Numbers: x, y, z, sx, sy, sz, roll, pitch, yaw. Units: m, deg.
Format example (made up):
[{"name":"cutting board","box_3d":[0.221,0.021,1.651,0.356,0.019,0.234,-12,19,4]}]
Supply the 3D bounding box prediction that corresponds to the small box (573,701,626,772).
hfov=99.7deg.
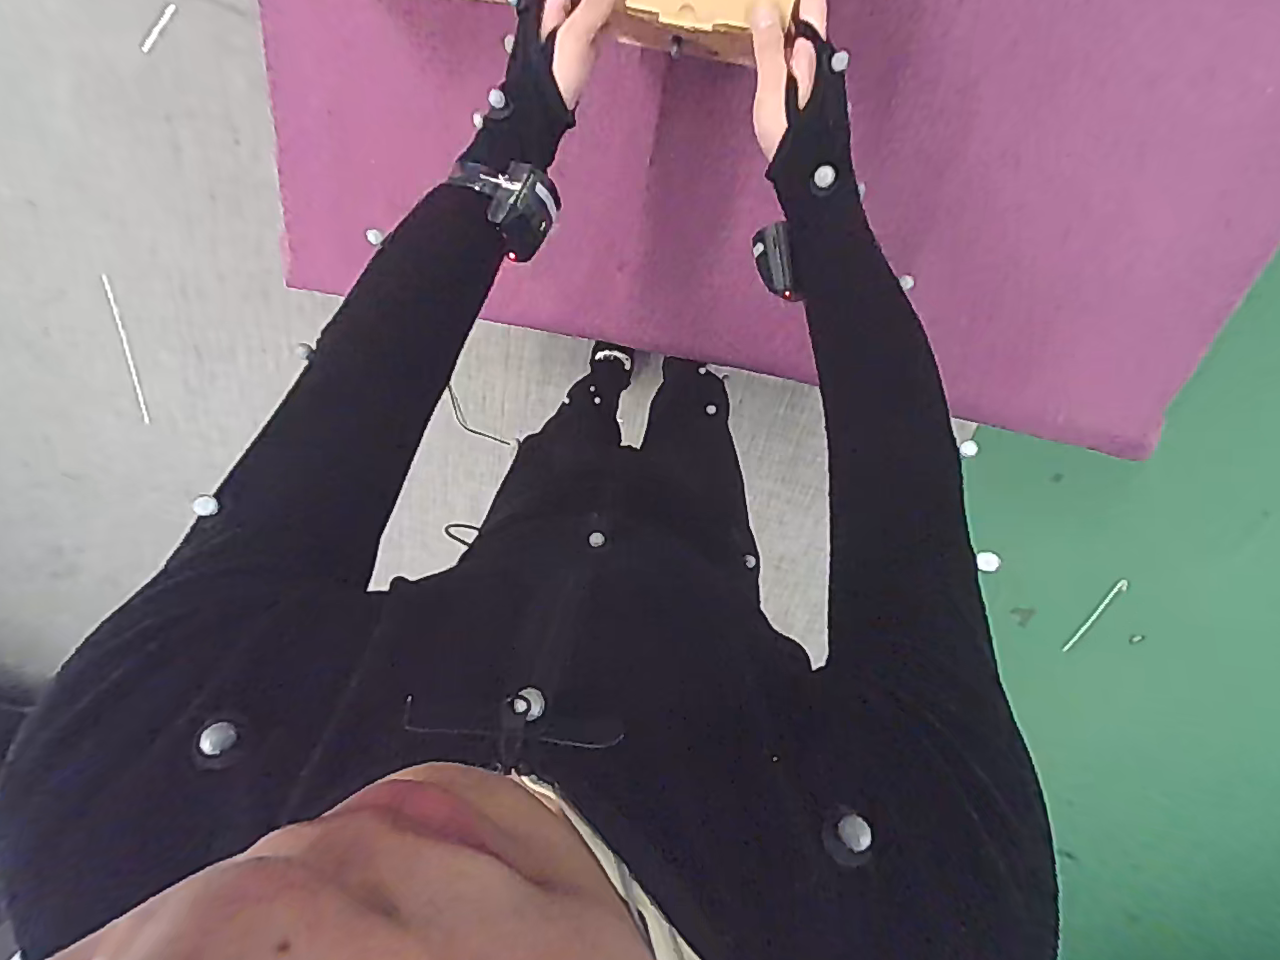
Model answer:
[{"name":"small box","box_3d":[-0.159,1.031,2.179,0.168,0.176,0.179,14,119,-1]}]

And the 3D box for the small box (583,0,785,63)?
[{"name":"small box","box_3d":[0.053,-0.485,0.461,0.168,0.176,0.179,11,123,2]}]

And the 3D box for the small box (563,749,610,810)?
[{"name":"small box","box_3d":[-0.221,1.266,2.314,0.168,0.176,0.179,15,120,0]}]
